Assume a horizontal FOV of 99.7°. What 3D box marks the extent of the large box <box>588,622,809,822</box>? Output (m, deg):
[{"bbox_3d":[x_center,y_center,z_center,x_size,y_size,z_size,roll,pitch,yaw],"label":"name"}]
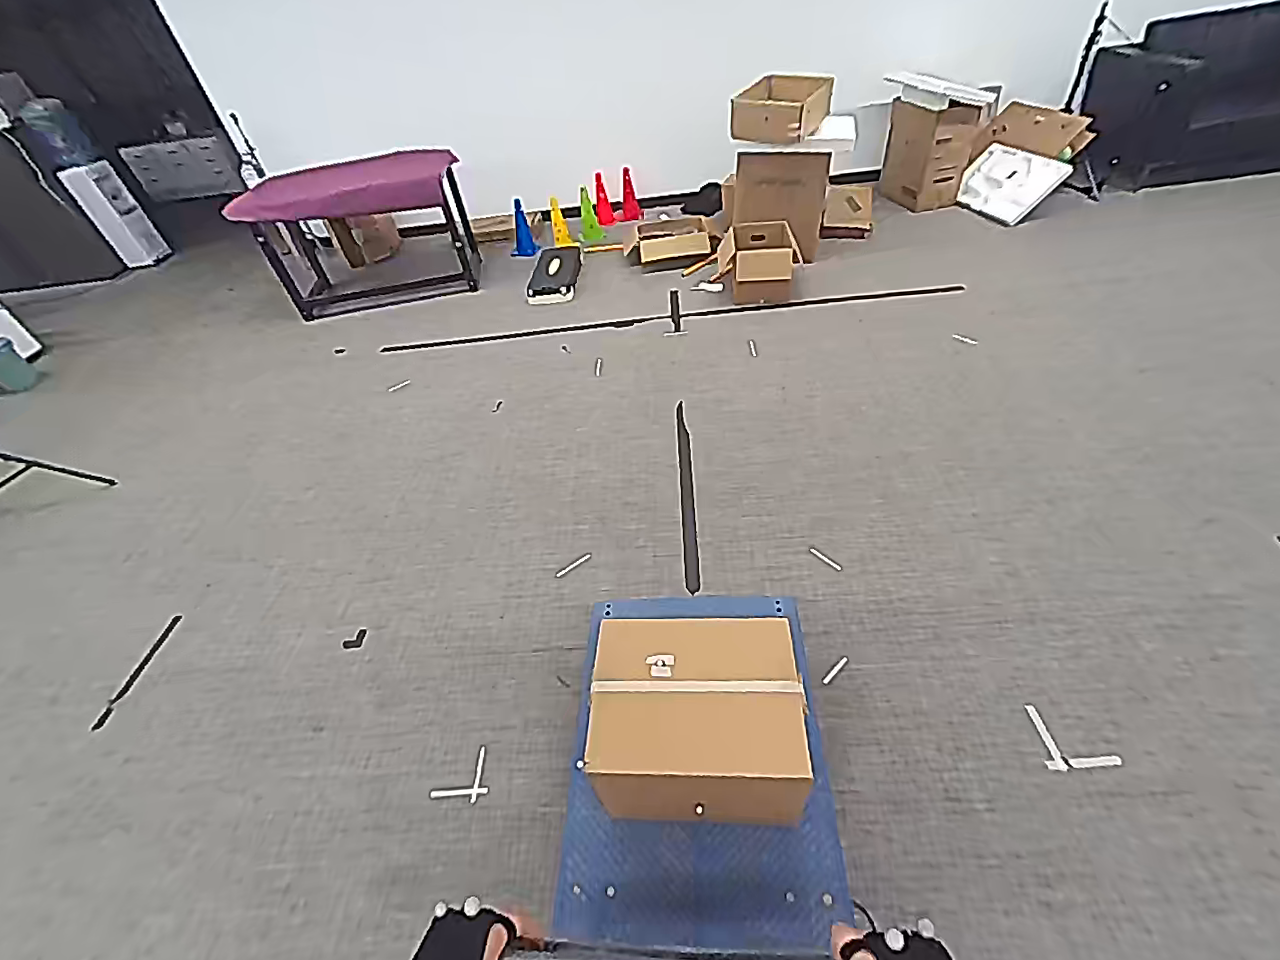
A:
[{"bbox_3d":[0.126,0.530,1.176,0.408,0.320,0.320,-4,43,7],"label":"large box"}]
